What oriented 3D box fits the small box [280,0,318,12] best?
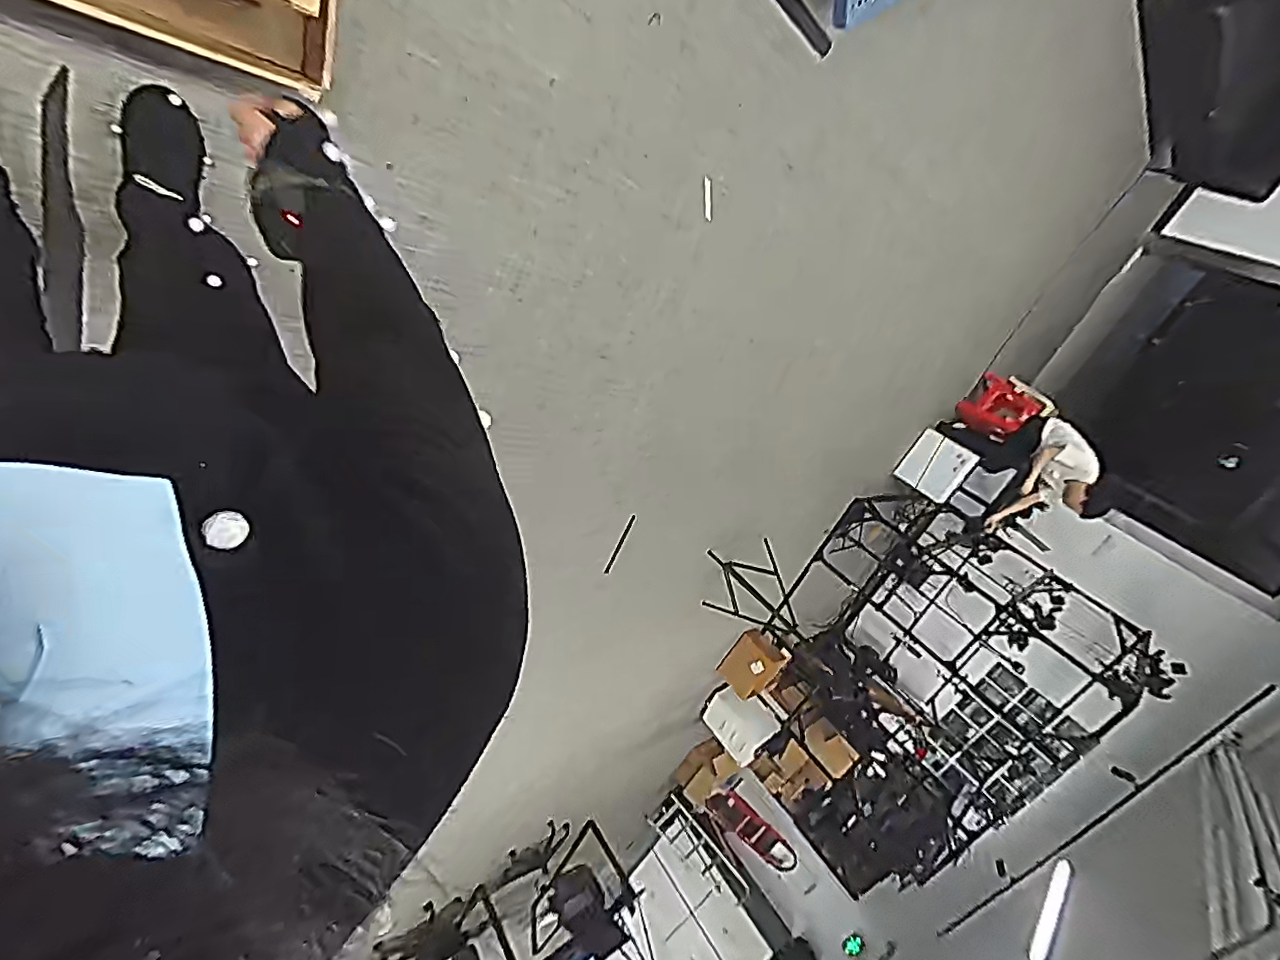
[{"bbox_3d":[-0.485,-0.707,0.642,0.168,0.176,0.179,-5,127,-43],"label":"small box"}]
